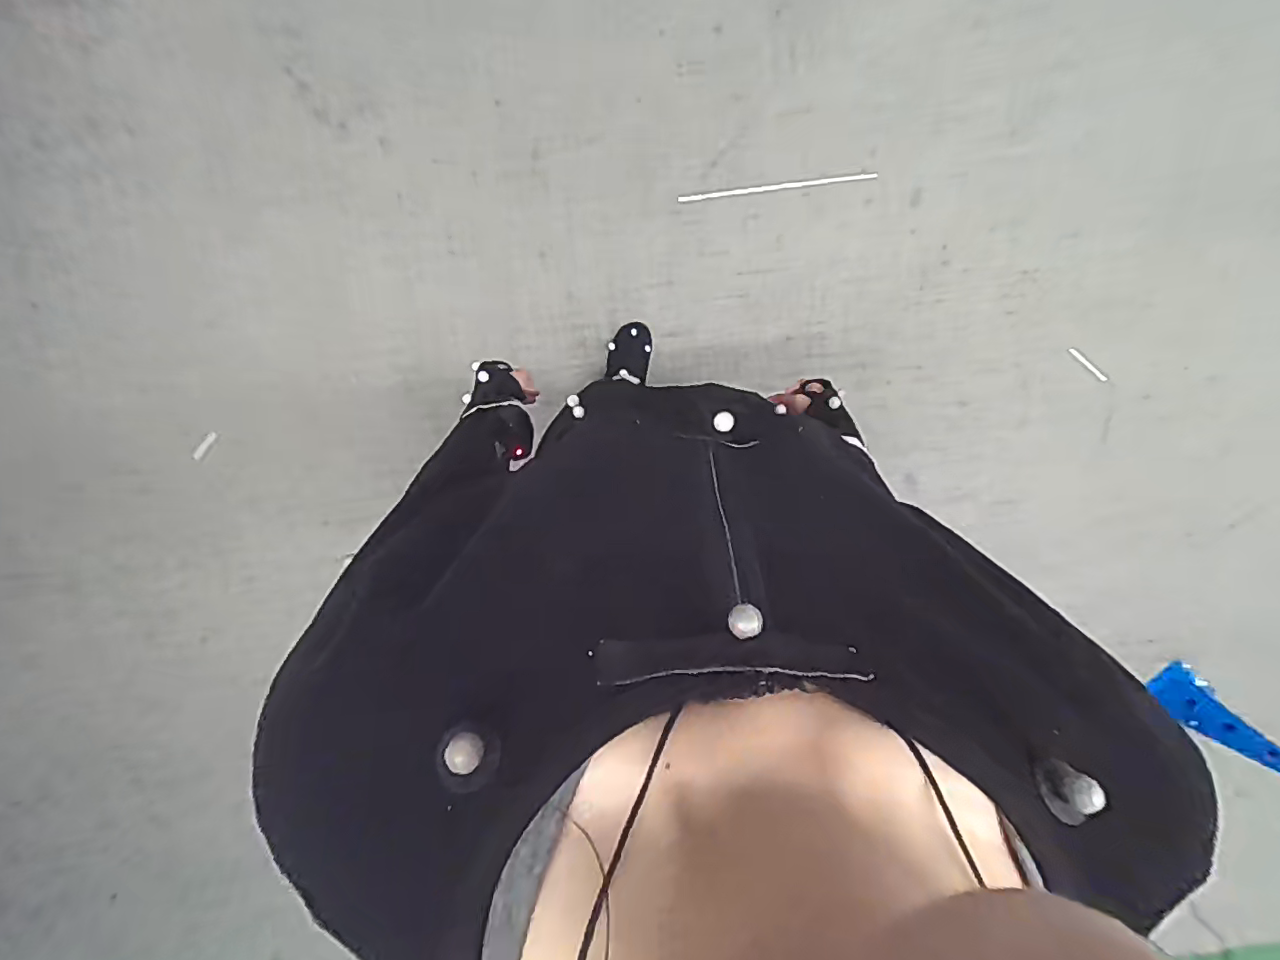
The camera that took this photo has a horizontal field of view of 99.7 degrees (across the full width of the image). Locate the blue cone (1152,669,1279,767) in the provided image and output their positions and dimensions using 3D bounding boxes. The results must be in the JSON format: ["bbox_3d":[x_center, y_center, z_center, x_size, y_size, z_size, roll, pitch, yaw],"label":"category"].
[{"bbox_3d":[1.707,0.725,1.517,0.192,0.380,0.193,37,98,-8],"label":"blue cone"}]
